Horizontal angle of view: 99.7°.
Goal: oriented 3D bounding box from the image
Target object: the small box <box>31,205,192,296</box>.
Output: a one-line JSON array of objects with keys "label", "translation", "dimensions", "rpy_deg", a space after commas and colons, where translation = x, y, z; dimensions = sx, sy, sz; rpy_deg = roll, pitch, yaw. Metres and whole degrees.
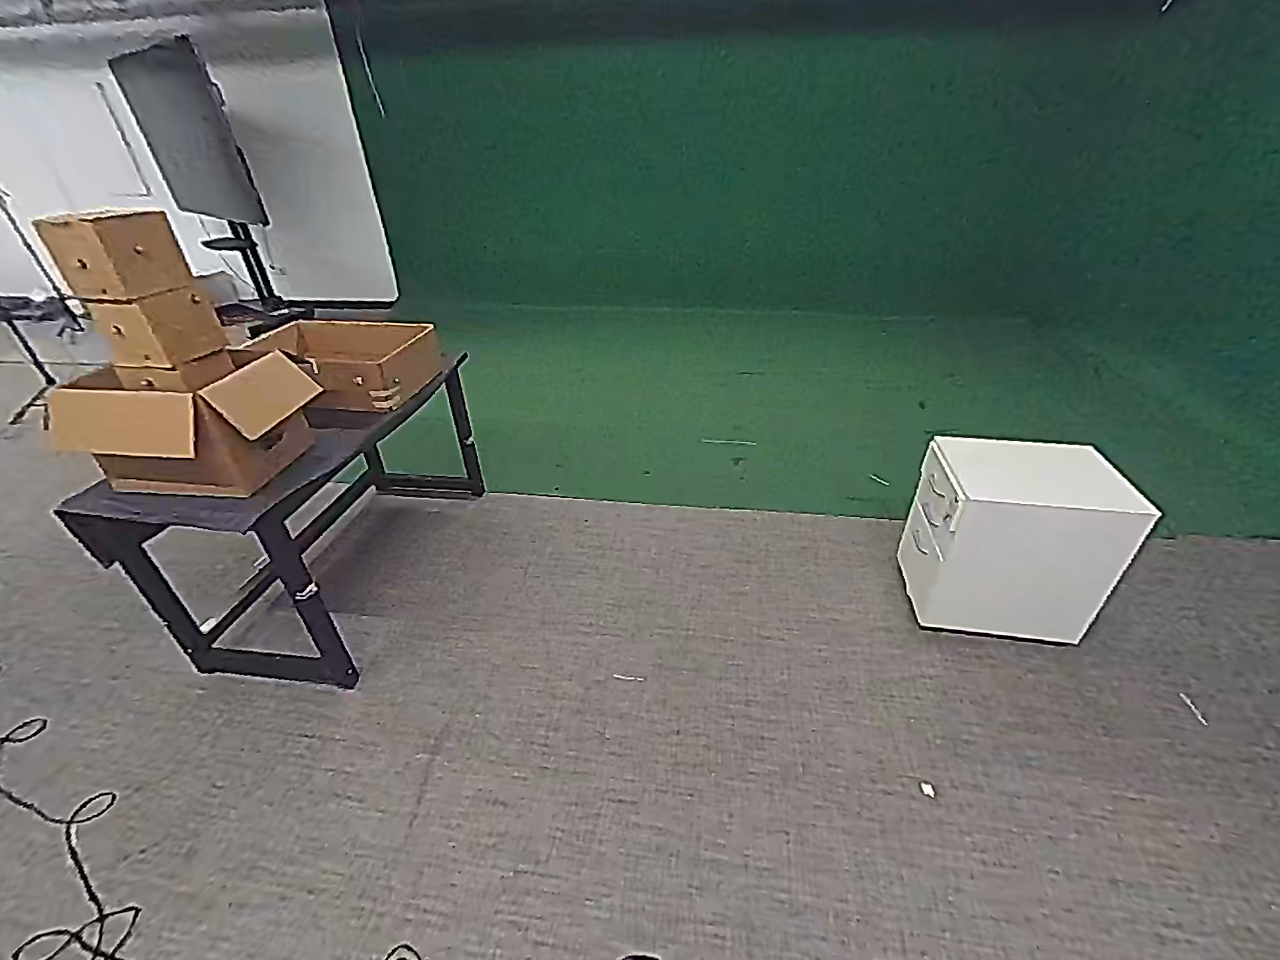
[{"label": "small box", "translation": [-1.210, -0.534, 1.257], "dimensions": [0.168, 0.176, 0.179], "rpy_deg": [6, 34, 11]}]

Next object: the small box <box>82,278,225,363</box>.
[{"label": "small box", "translation": [-1.201, -0.401, 1.353], "dimensions": [0.168, 0.176, 0.179], "rpy_deg": [7, 34, 12]}]
